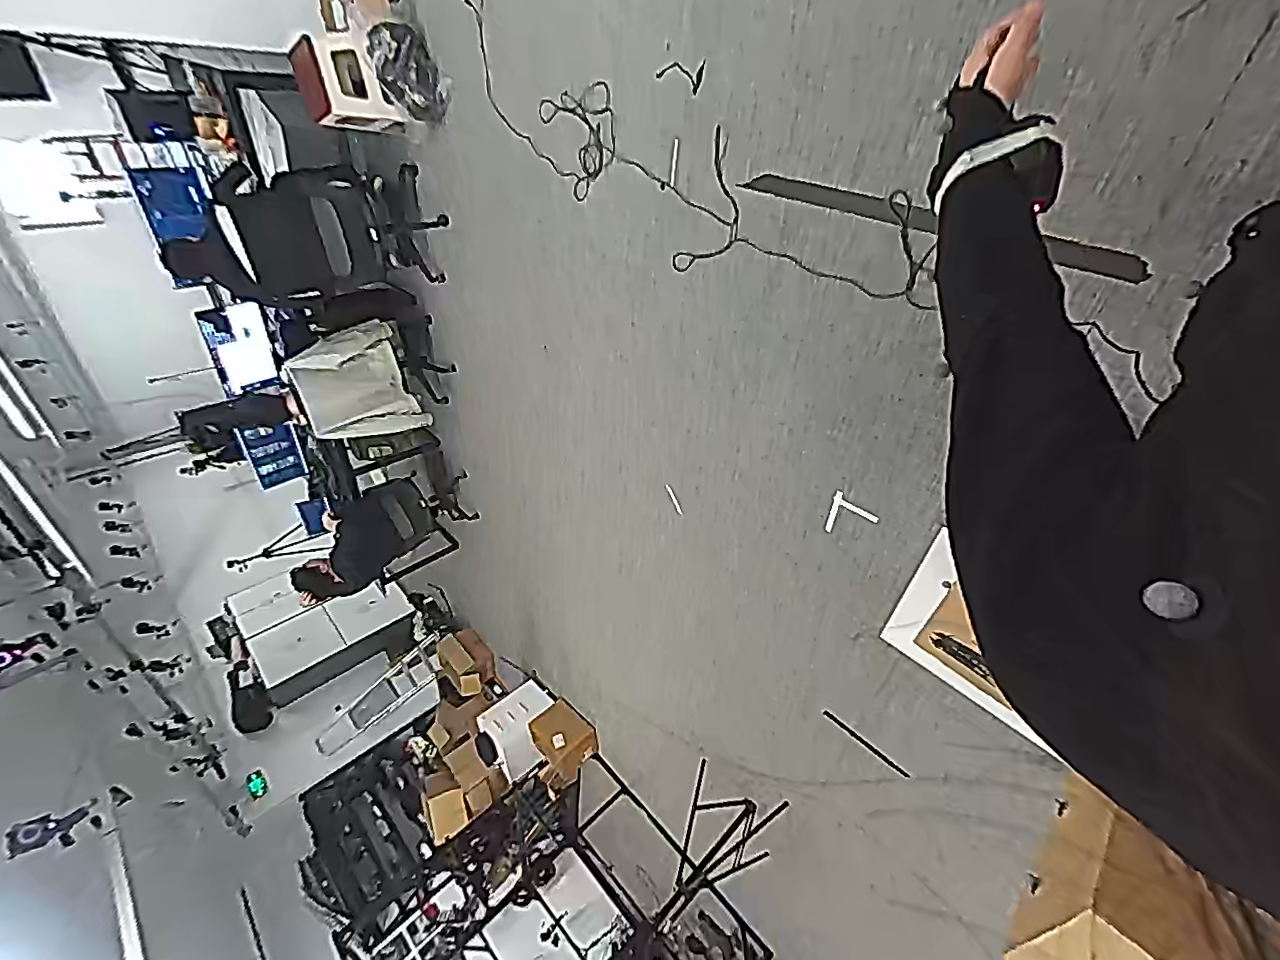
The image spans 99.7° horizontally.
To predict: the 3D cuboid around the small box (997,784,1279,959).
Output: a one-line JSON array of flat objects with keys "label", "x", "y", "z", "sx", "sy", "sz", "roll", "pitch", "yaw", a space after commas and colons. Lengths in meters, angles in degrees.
[{"label": "small box", "x": 0.511, "y": 0.459, "z": 0.547, "sx": 0.168, "sy": 0.176, "sz": 0.179, "roll": 33, "pitch": 135, "yaw": 33}]
